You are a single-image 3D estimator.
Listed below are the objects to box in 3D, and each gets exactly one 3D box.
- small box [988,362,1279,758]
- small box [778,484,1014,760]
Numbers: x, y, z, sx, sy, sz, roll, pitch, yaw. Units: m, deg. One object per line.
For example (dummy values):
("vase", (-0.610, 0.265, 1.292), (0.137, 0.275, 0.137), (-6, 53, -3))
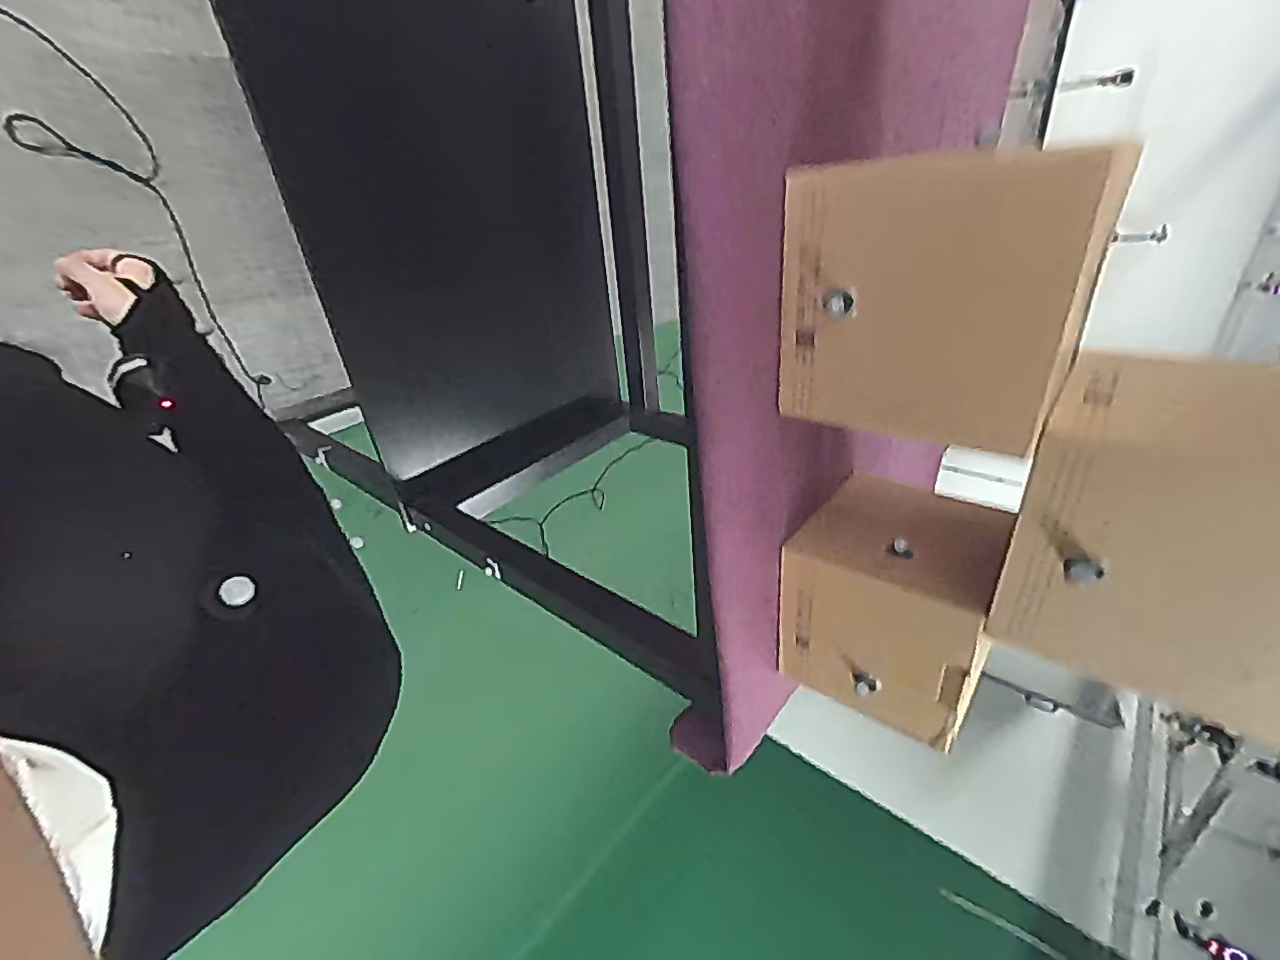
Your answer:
("small box", (0.359, 0.035, 0.367), (0.168, 0.176, 0.179), (-35, 130, -39))
("small box", (0.251, 0.123, 0.540), (0.179, 0.176, 0.168), (-32, 128, -41))
